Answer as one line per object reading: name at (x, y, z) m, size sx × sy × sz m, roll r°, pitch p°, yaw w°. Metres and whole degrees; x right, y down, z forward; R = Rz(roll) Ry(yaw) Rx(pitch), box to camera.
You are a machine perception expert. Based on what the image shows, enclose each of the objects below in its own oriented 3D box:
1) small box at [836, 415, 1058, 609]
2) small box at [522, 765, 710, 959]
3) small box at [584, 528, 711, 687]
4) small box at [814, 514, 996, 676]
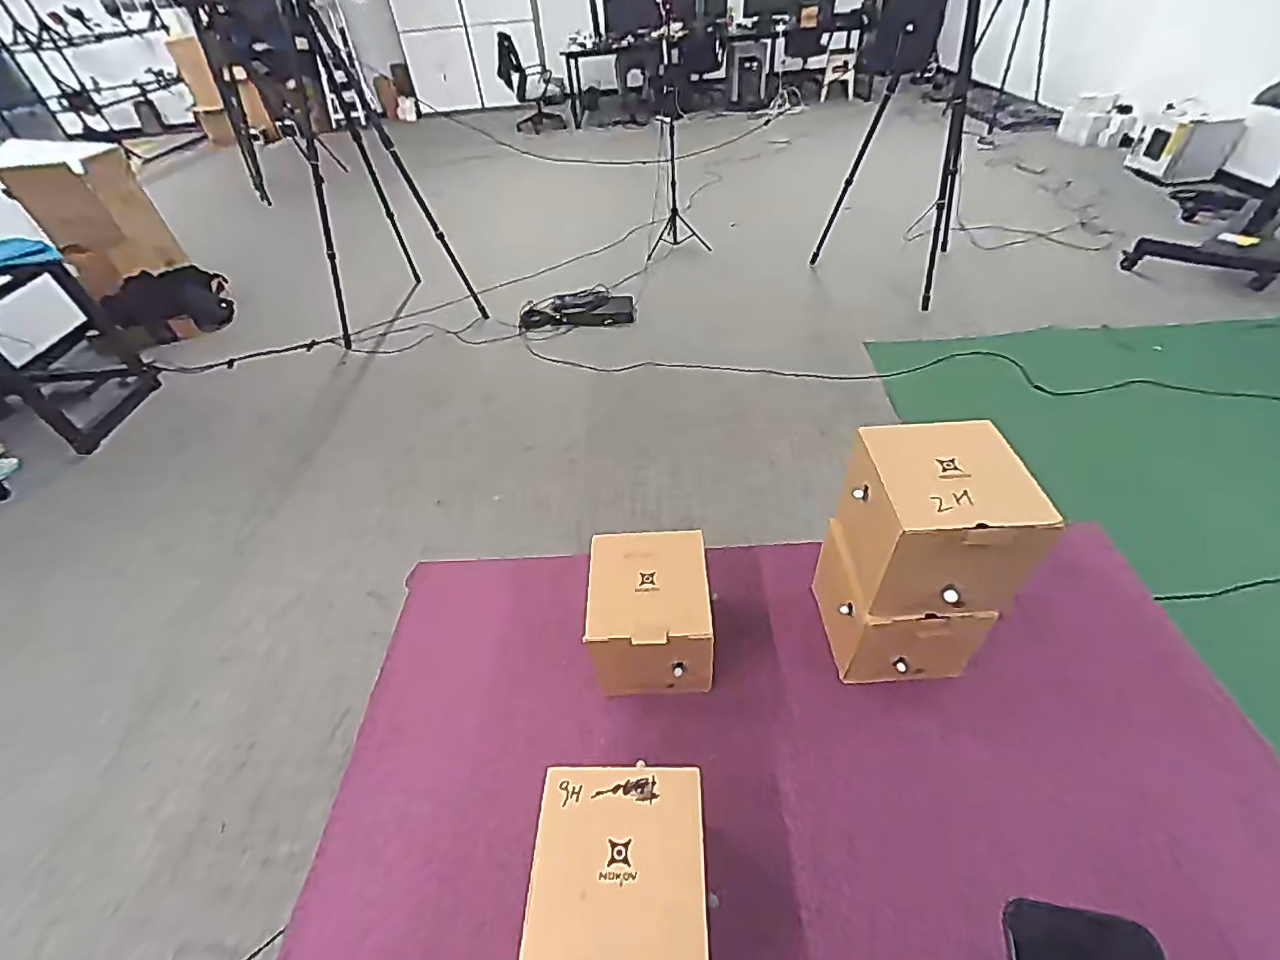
small box at (0.358, 0.040, 0.677) m, size 0.168 × 0.176 × 0.179 m, roll -4°, pitch 46°, yaw 4°
small box at (-0.013, 0.421, 0.568) m, size 0.168 × 0.176 × 0.179 m, roll -2°, pitch 43°, yaw 4°
small box at (0.017, 0.193, 0.799) m, size 0.168 × 0.176 × 0.179 m, roll -3°, pitch 44°, yaw 3°
small box at (0.365, 0.162, 0.788) m, size 0.168 × 0.176 × 0.179 m, roll -5°, pitch 45°, yaw 2°
